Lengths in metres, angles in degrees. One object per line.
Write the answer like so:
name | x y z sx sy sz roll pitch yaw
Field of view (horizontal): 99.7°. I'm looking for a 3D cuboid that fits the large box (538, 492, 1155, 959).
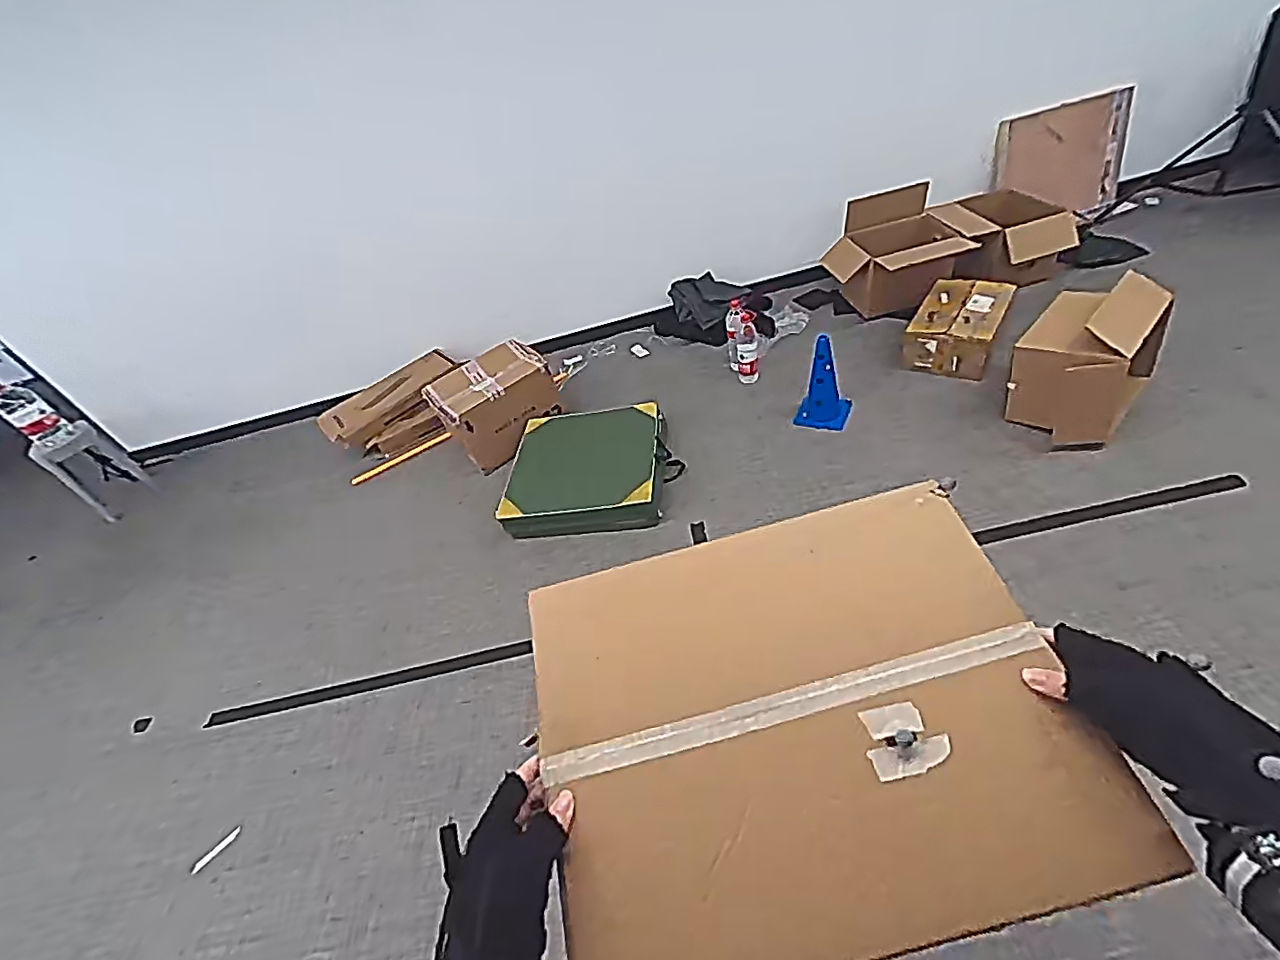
large box | 0.145 0.269 0.566 0.408 0.320 0.320 -16 55 0
